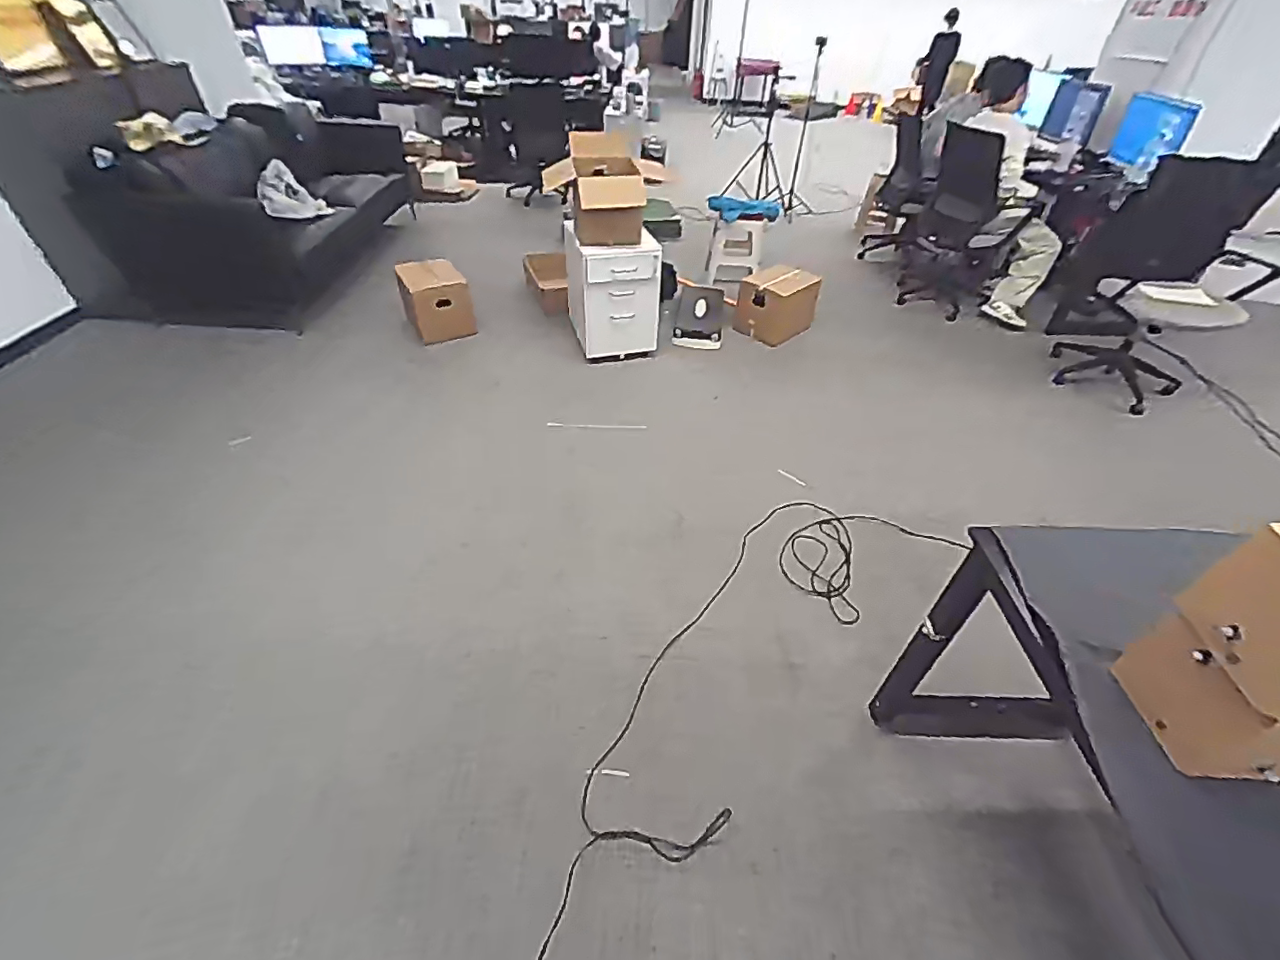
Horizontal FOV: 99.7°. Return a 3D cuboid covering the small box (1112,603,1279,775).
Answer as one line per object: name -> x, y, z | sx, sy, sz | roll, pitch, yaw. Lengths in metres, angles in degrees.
small box -> 0.835, 0.293, 0.754 | 0.179, 0.176, 0.168 | 3, 41, -1
